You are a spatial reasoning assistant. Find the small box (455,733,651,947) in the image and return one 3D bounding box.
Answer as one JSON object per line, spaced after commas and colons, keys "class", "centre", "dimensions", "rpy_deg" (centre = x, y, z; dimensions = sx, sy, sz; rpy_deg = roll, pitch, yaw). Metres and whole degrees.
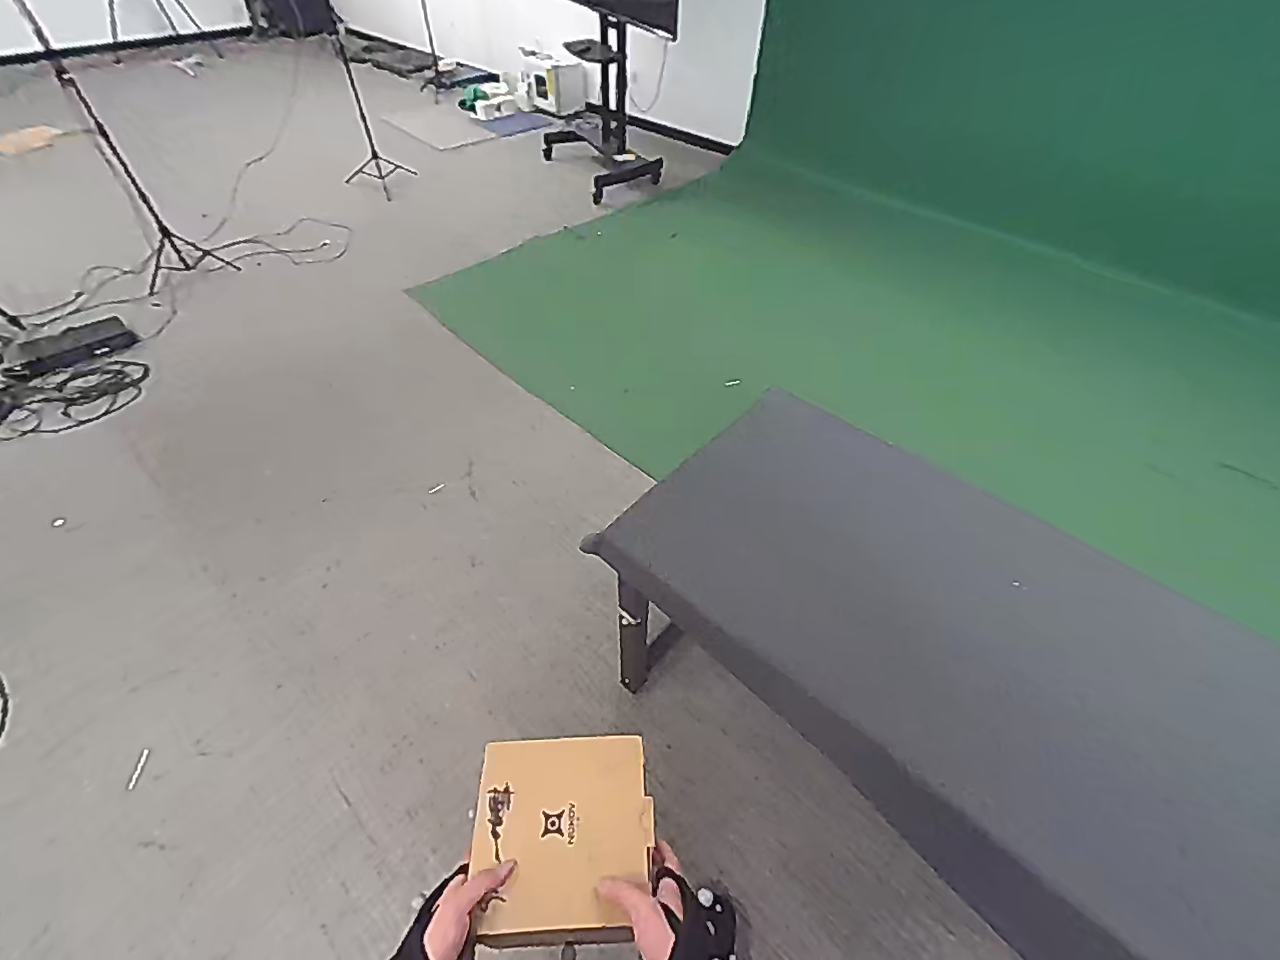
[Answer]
{"class": "small box", "centre": [-0.083, 0.393, 0.592], "dimensions": [0.179, 0.176, 0.168], "rpy_deg": [-1, 44, -3]}
